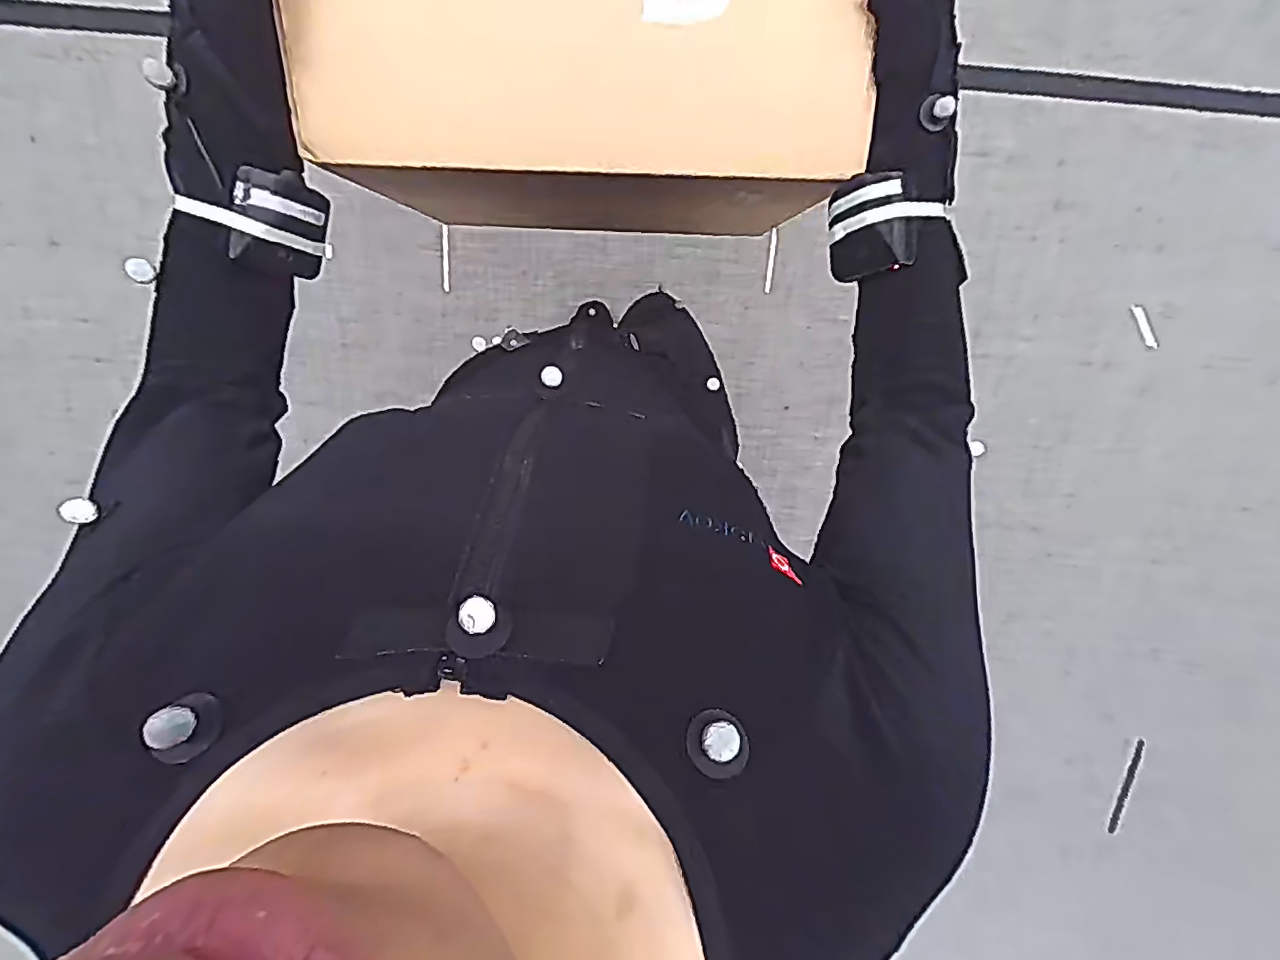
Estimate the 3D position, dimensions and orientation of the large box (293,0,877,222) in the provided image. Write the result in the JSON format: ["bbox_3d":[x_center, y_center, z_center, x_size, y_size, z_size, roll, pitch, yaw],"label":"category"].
[{"bbox_3d":[-0.039,-0.428,0.490,0.408,0.320,0.320,1,108,-2],"label":"large box"}]
